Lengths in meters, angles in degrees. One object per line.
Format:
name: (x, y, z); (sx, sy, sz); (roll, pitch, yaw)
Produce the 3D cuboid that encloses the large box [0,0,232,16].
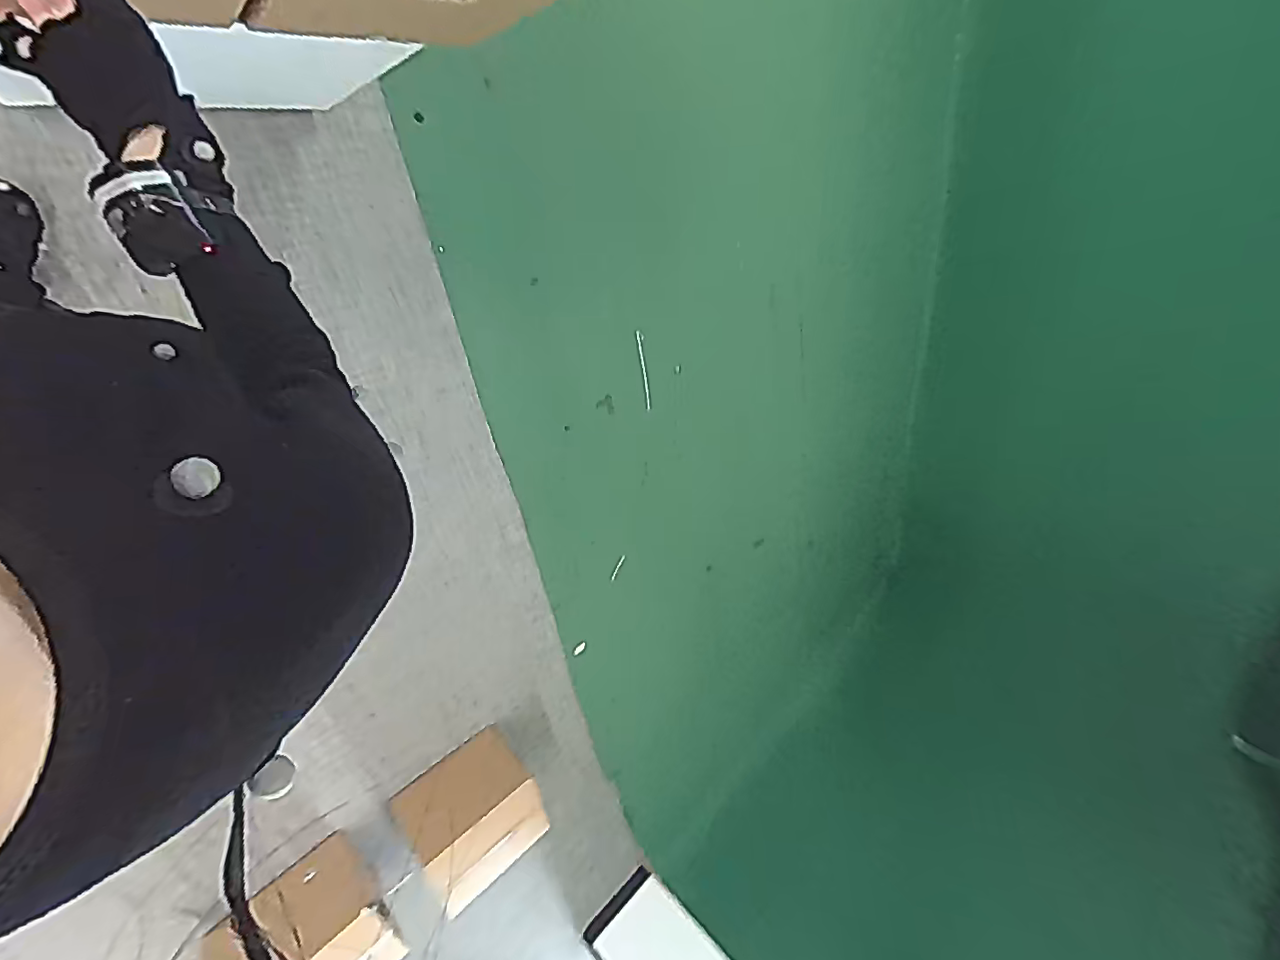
large box: (-0.525, -0.614, 0.361); (0.320, 0.320, 0.408); (-28, 124, -34)
